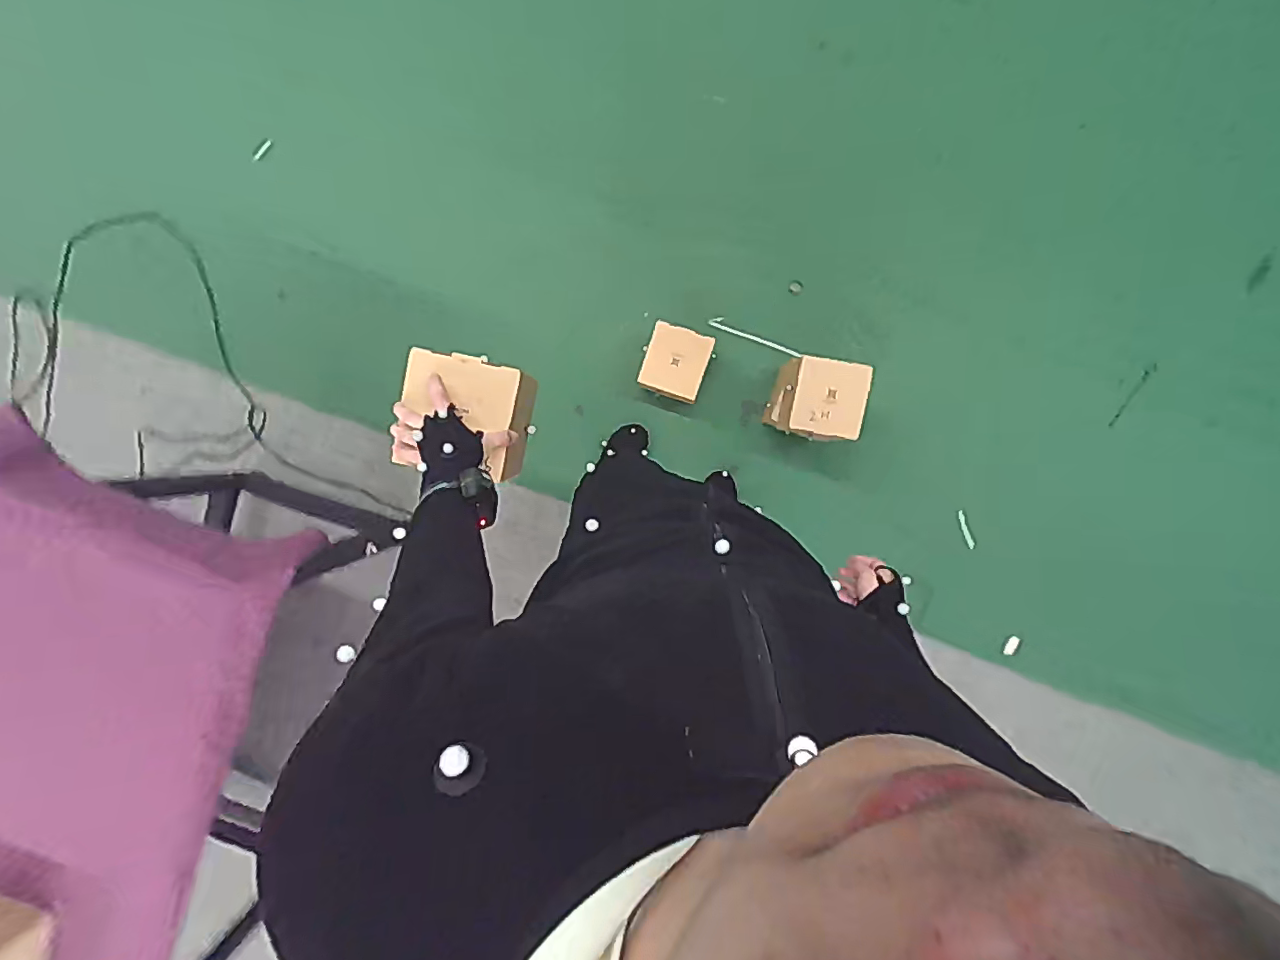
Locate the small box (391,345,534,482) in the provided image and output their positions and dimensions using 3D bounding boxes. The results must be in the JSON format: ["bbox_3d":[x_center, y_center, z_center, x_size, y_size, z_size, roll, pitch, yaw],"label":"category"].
[{"bbox_3d":[-0.276,-0.104,0.880,0.168,0.176,0.179,12,95,-2],"label":"small box"}]

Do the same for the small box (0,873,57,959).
[{"bbox_3d":[-1.245,0.859,0.981,0.179,0.176,0.168,19,96,2],"label":"small box"}]

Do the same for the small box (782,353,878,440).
[{"bbox_3d":[0.457,-0.201,1.329,0.168,0.176,0.179,12,96,4],"label":"small box"}]

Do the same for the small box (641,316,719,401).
[{"bbox_3d":[0.114,-0.331,1.515,0.168,0.176,0.179,20,95,3],"label":"small box"}]
